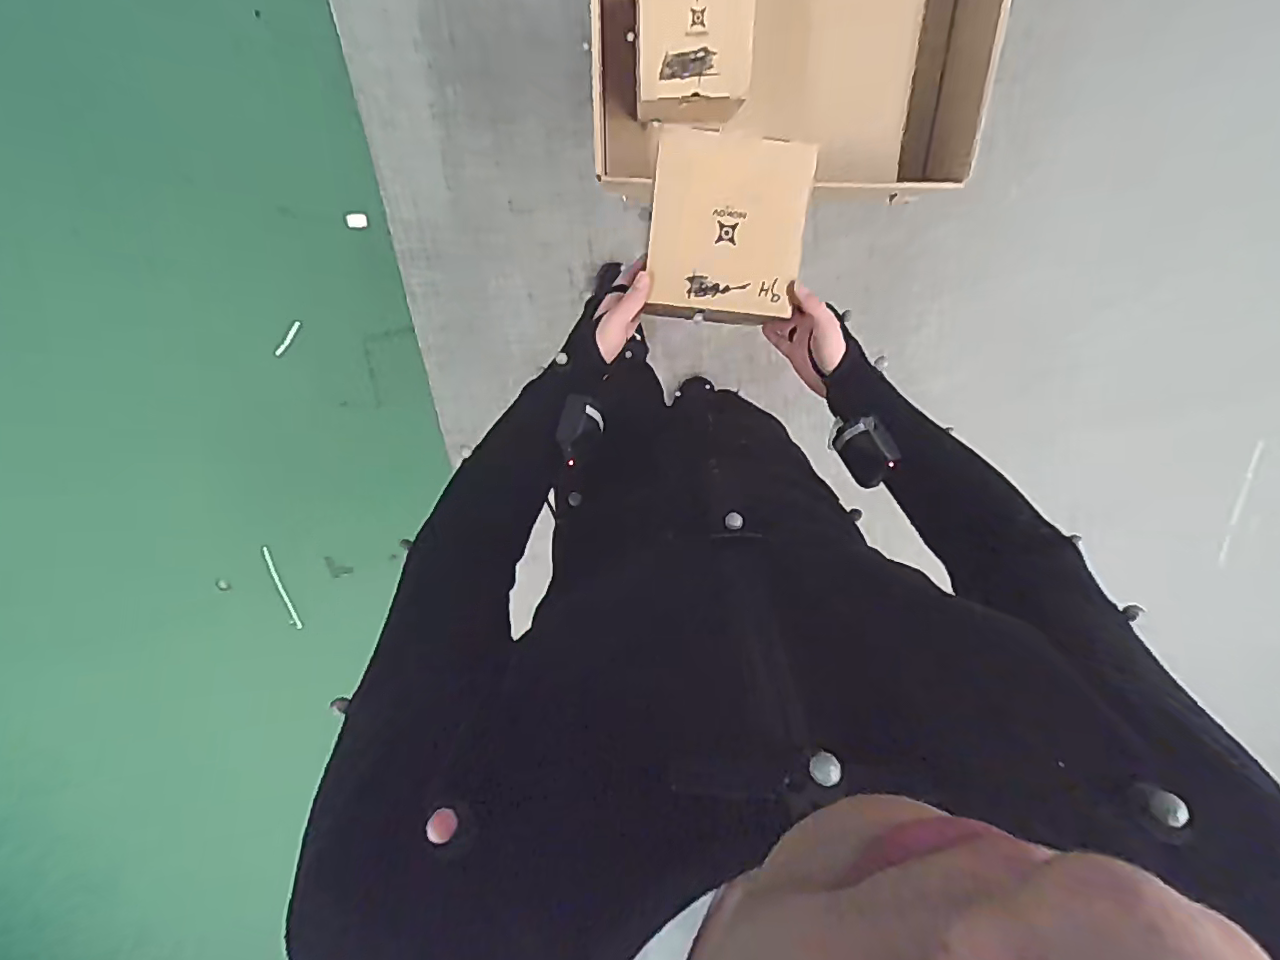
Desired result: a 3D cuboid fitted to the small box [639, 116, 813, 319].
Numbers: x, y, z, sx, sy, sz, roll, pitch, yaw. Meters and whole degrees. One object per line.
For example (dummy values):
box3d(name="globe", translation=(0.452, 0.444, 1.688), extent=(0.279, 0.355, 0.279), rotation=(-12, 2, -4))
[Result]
box3d(name="small box", translation=(0.089, -0.297, 0.650), extent=(0.168, 0.176, 0.179), rotation=(6, 104, -1))

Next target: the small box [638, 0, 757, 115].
box3d(name="small box", translation=(0.082, -0.683, 0.838), extent=(0.168, 0.176, 0.179), rotation=(-1, 113, -1))
